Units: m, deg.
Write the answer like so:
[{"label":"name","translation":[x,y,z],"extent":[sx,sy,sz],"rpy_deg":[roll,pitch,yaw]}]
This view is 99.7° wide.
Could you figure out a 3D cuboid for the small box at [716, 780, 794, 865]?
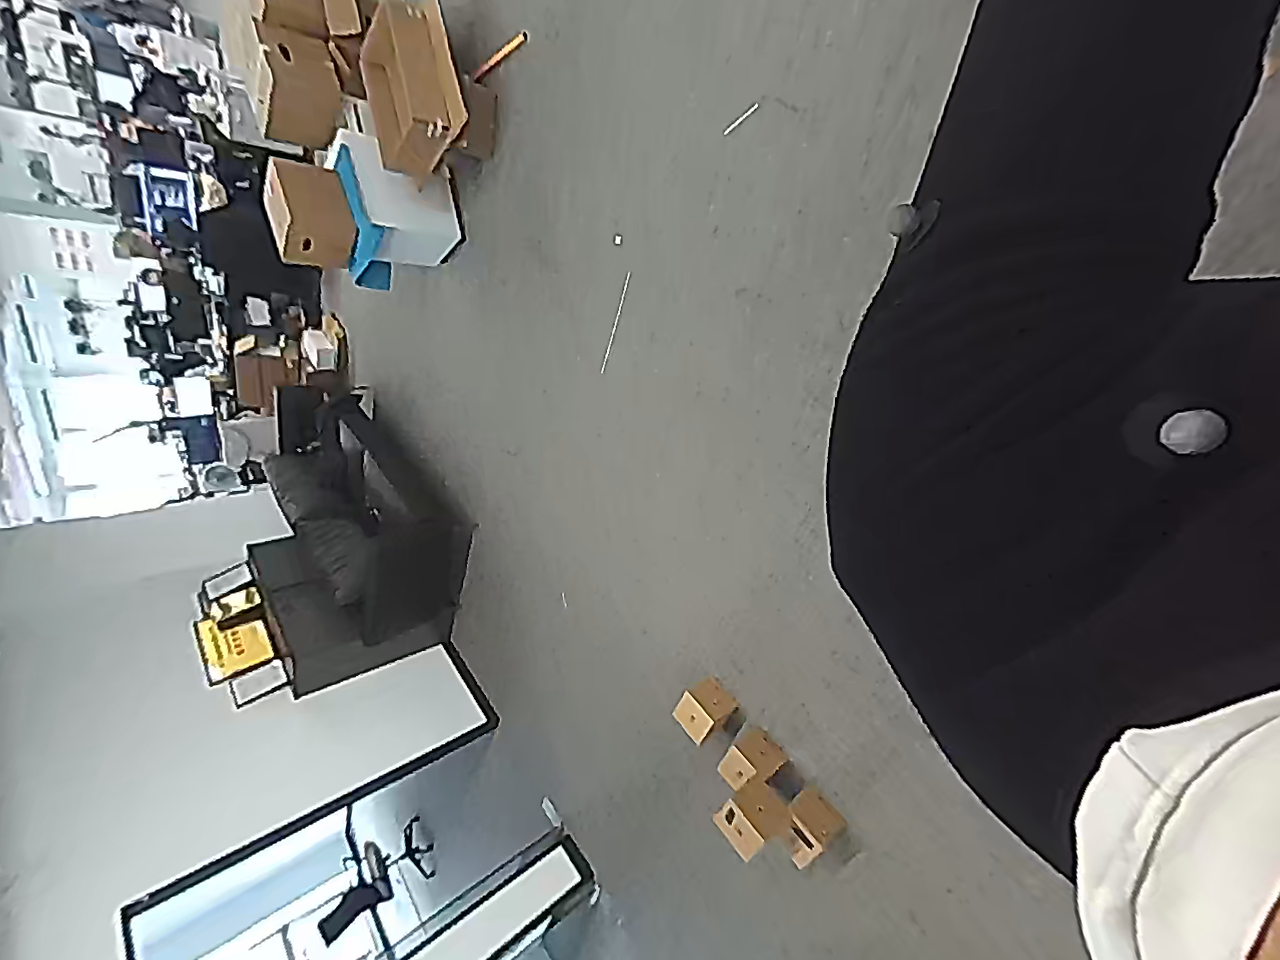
[{"label":"small box","translation":[0.412,1.213,1.936],"extent":[0.179,0.176,0.168],"rpy_deg":[43,128,31]}]

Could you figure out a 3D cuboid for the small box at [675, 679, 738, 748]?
[{"label":"small box","translation":[0.283,0.970,2.263],"extent":[0.168,0.176,0.179],"rpy_deg":[42,127,32]}]
